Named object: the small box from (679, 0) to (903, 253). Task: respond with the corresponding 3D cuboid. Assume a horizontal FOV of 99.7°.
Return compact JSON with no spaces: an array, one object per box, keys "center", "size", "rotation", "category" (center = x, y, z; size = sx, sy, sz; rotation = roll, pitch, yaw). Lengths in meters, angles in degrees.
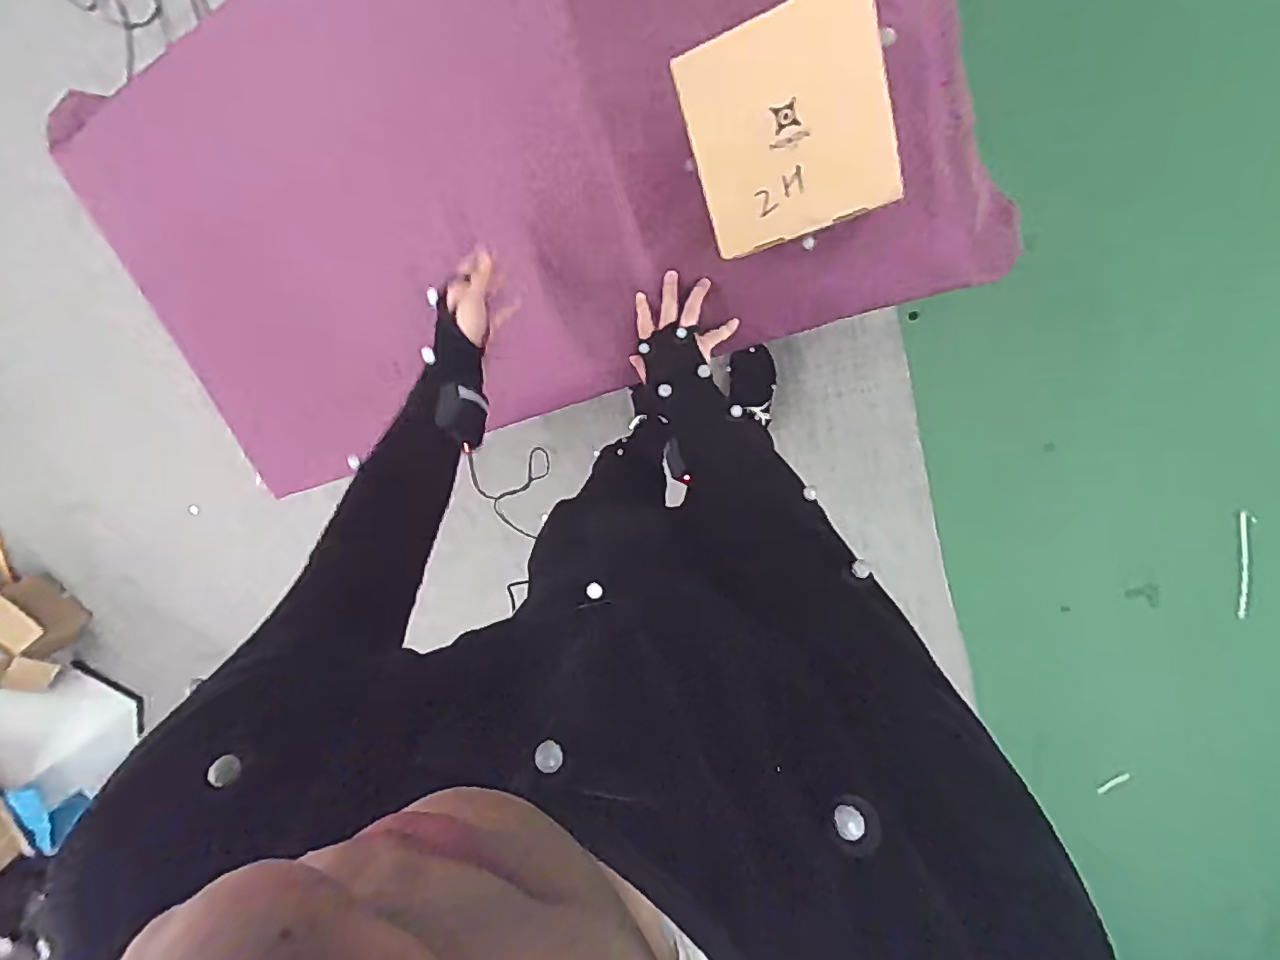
[{"center":[0.152,-0.341,0.544],"size":[0.168,0.176,0.179],"rotation":[-11,110,21],"category":"small box"}]
